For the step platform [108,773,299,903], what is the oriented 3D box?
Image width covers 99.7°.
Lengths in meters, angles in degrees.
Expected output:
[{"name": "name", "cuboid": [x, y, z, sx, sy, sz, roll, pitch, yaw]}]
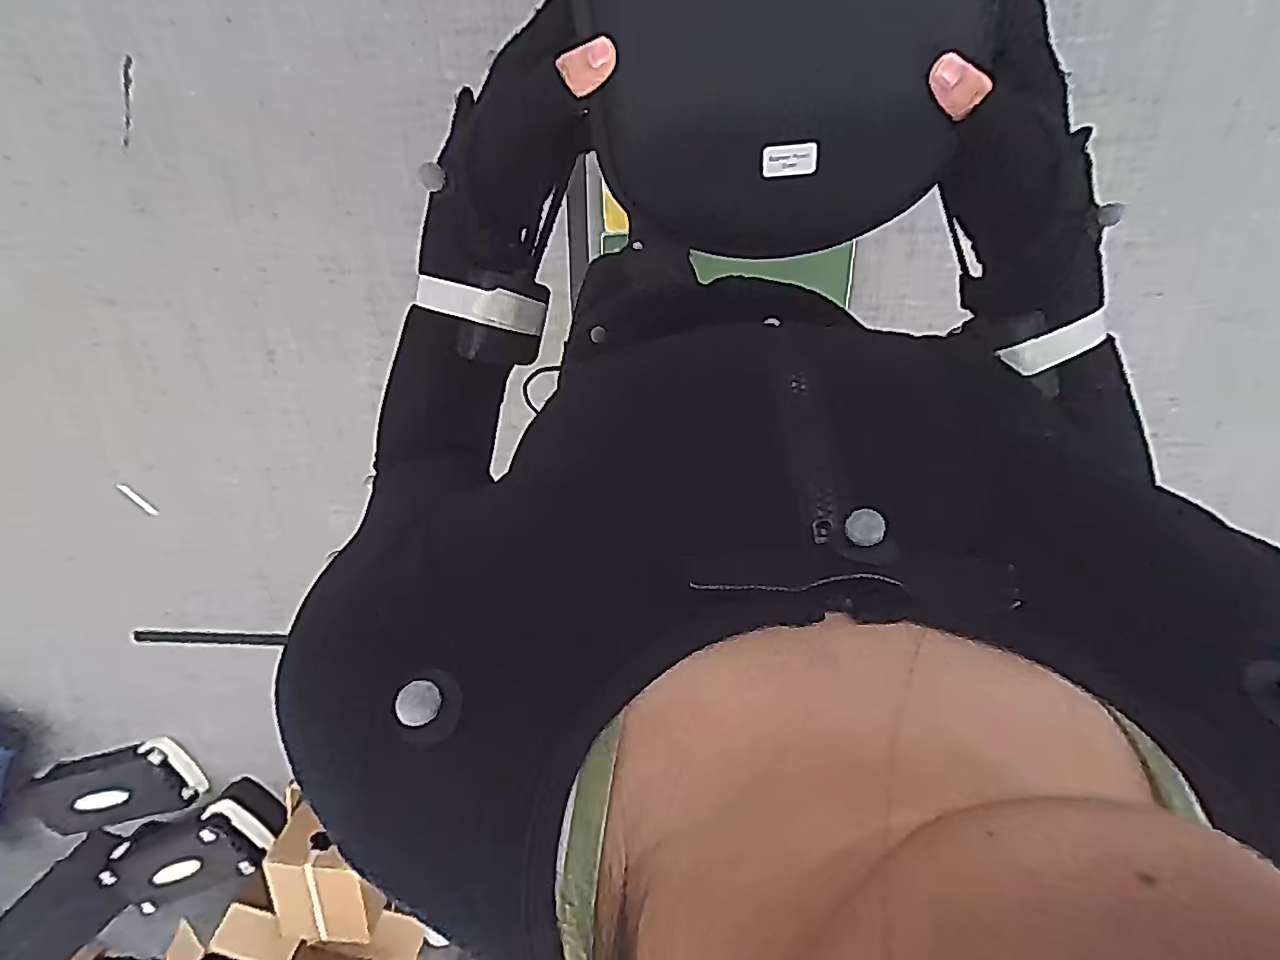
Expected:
[{"name": "step platform", "cuboid": [-1.726, 1.423, 2.140, 0.684, 0.204, 0.286, -28, 109, 12]}]
